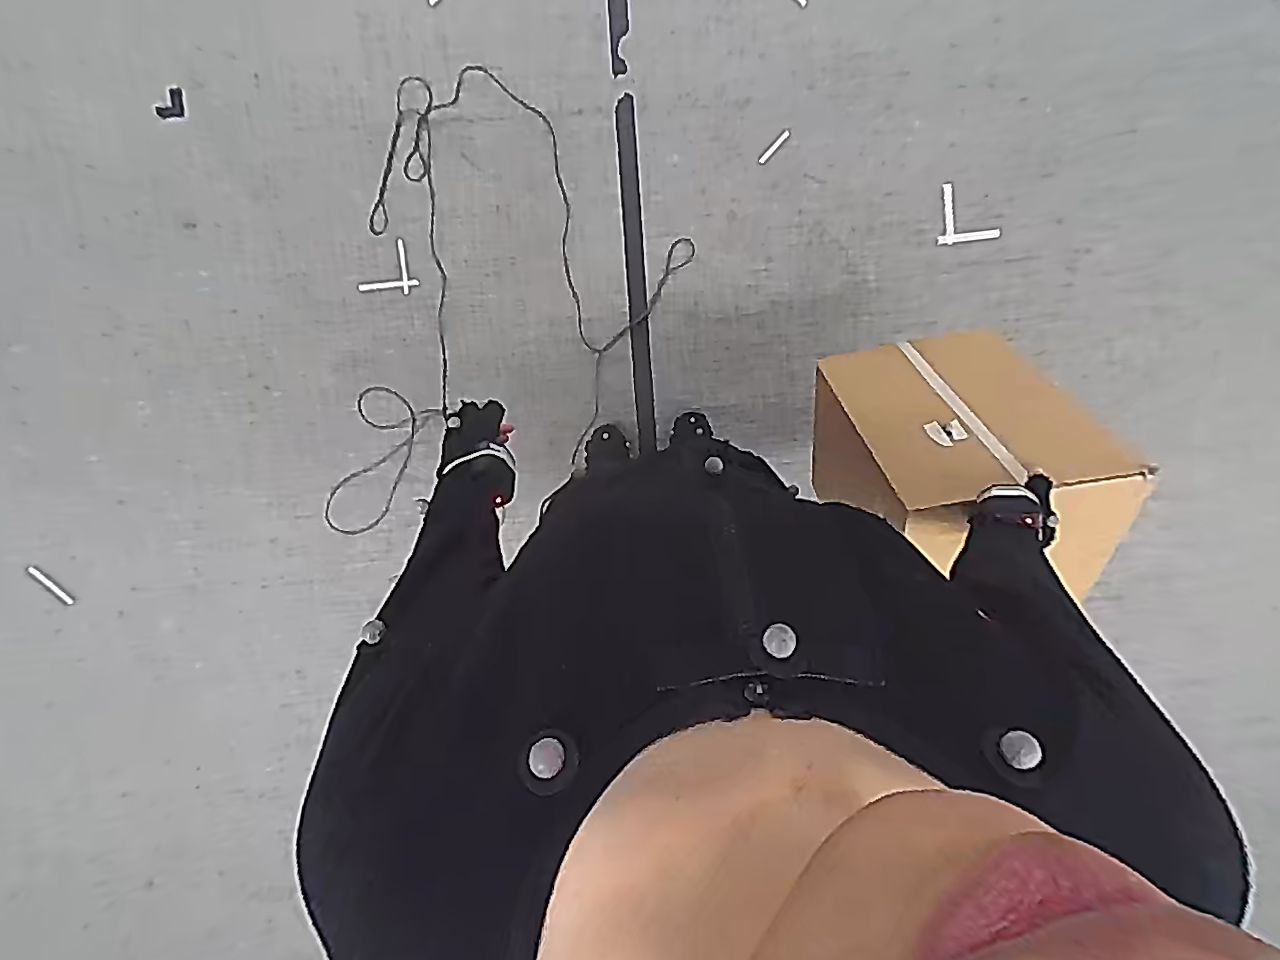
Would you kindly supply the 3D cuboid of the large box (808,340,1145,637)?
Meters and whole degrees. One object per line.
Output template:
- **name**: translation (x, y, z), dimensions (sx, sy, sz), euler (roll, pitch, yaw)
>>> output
- **large box**: translation (0.516, 0.005, 0.956), dimensions (0.320, 0.408, 0.320), euler (-11, 131, 4)
